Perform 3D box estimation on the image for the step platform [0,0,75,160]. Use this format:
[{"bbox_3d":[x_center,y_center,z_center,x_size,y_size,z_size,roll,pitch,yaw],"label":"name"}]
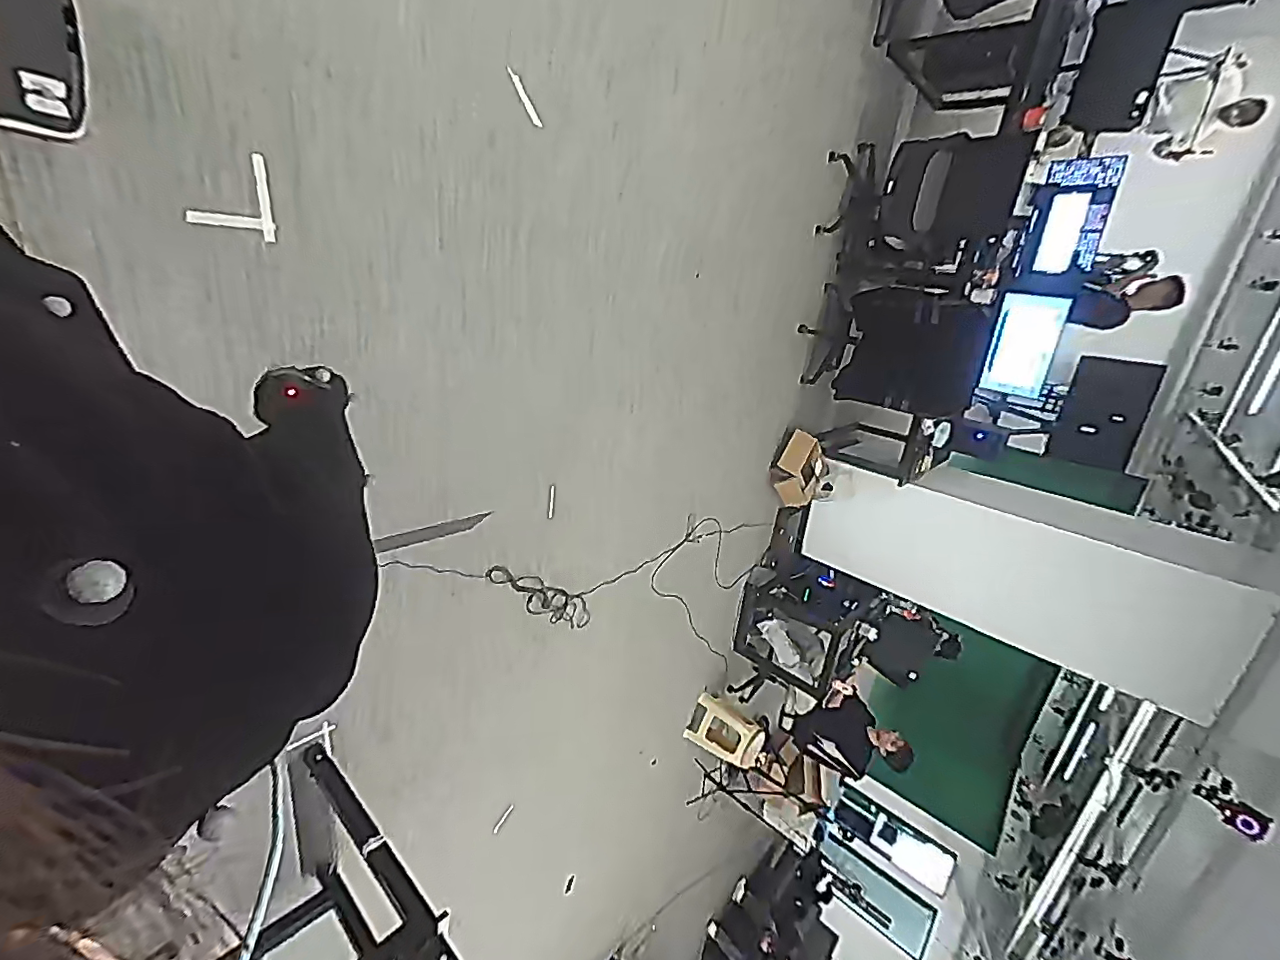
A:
[{"bbox_3d":[-1.142,-0.635,0.620,0.684,0.204,0.286,-7,113,-49],"label":"step platform"}]
